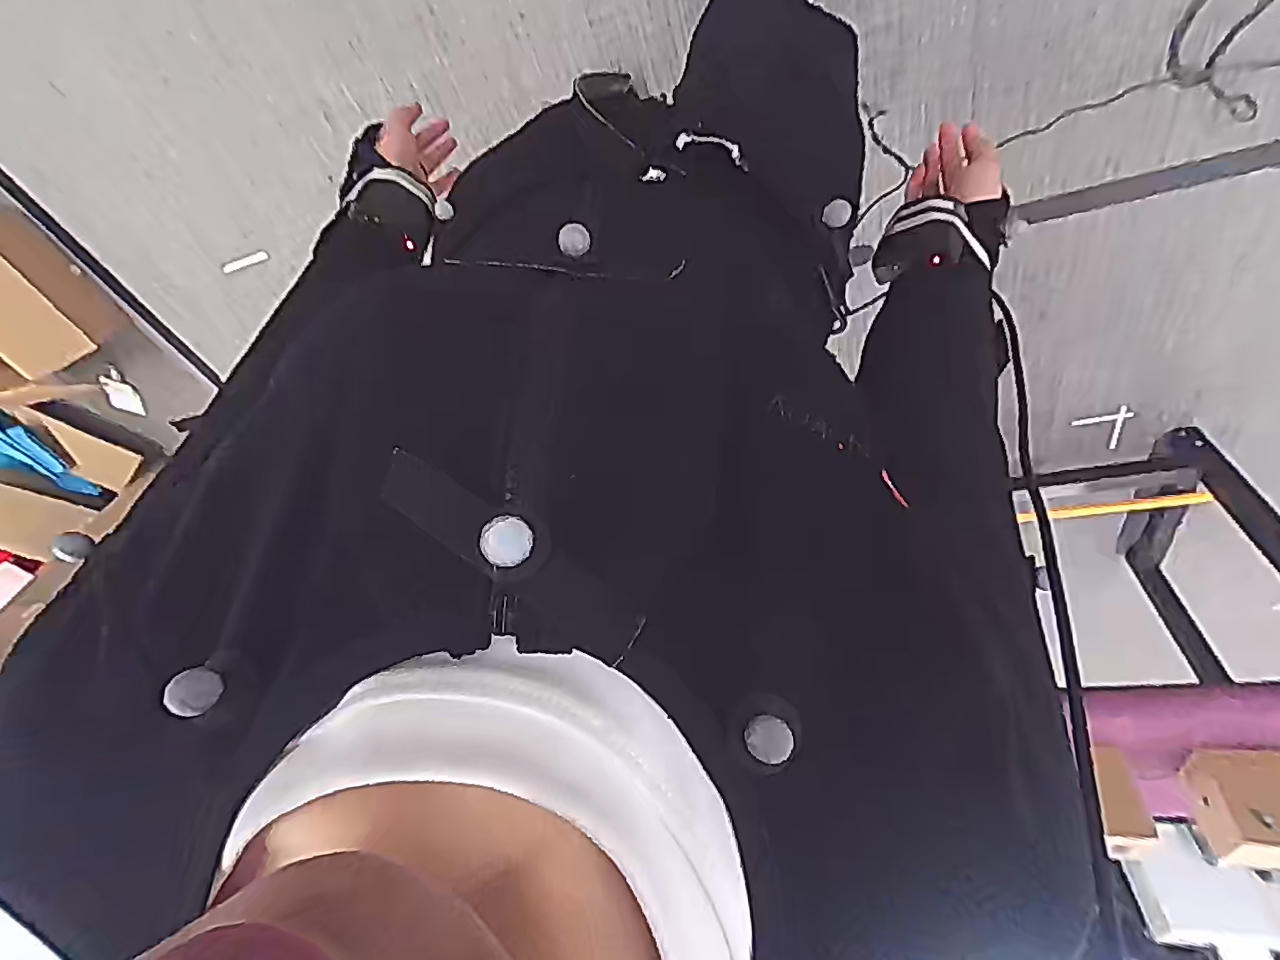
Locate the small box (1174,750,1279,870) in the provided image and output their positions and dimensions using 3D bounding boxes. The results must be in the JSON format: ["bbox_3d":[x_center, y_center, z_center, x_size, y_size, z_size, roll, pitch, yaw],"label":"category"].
[{"bbox_3d":[1.213,0.645,1.061,0.179,0.176,0.168,-10,134,21],"label":"small box"}]
